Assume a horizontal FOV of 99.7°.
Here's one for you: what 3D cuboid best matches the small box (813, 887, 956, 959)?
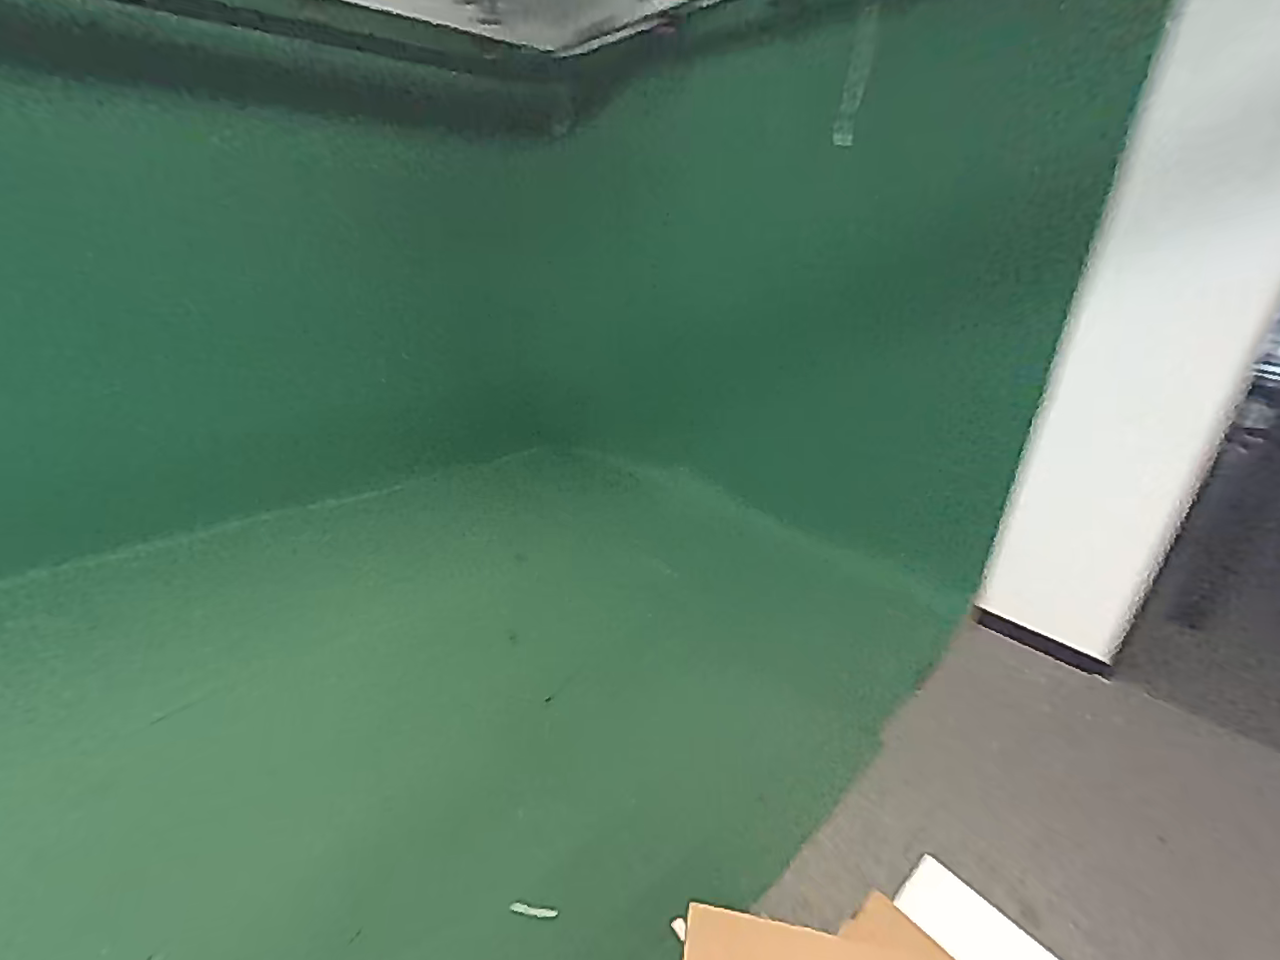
[{"bbox_3d":[0.308,0.674,0.664,0.168,0.176,0.179,-17,31,-36],"label":"small box"}]
